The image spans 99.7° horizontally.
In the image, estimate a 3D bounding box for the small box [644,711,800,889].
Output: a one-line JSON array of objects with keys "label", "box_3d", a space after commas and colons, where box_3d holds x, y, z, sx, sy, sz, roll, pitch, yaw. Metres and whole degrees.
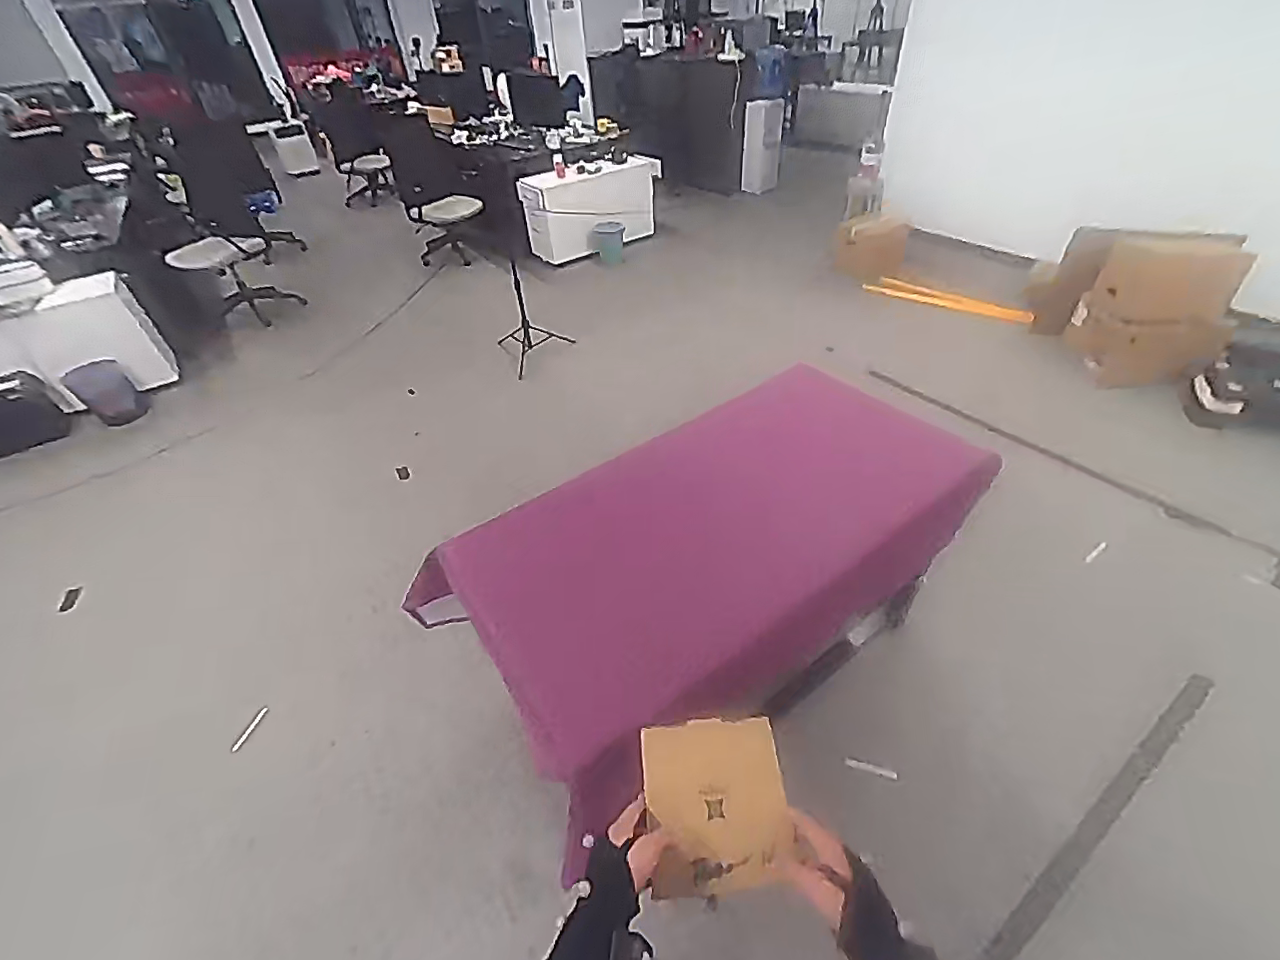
[{"label": "small box", "box_3d": [0.095, 0.419, 0.705, 0.168, 0.176, 0.179, -6, 54, 1]}]
